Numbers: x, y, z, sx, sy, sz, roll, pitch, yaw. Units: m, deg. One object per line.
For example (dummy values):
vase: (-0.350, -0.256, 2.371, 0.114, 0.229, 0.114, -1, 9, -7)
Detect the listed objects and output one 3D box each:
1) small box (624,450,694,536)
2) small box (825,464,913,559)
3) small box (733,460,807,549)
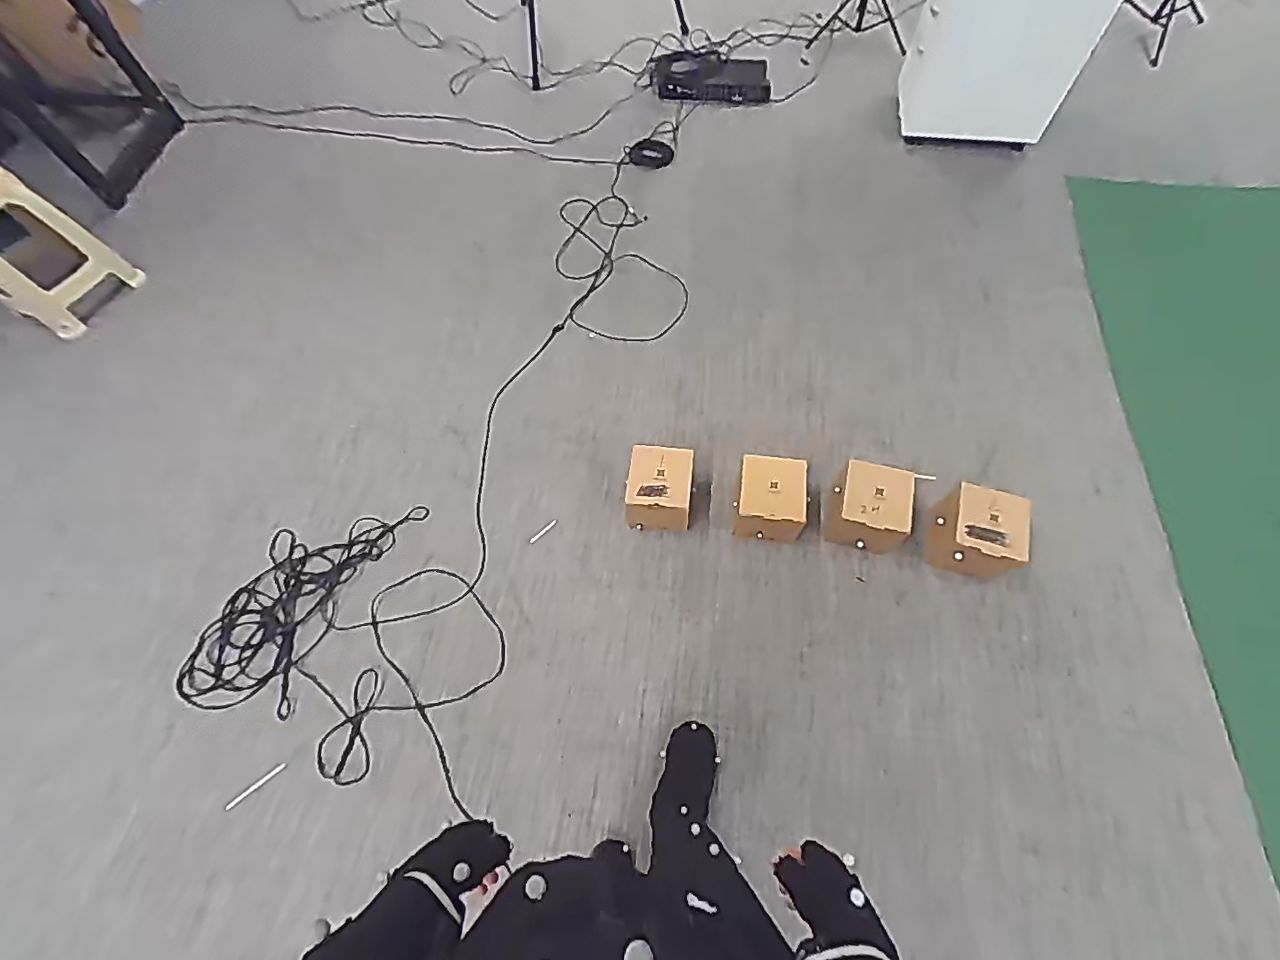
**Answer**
small box: (0.056, 0.040, 1.474, 0.168, 0.176, 0.179, 5, 63, 6)
small box: (0.599, 0.087, 1.423, 0.168, 0.176, 0.179, 13, 65, 10)
small box: (0.344, 0.068, 1.447, 0.168, 0.176, 0.179, 6, 64, 6)
